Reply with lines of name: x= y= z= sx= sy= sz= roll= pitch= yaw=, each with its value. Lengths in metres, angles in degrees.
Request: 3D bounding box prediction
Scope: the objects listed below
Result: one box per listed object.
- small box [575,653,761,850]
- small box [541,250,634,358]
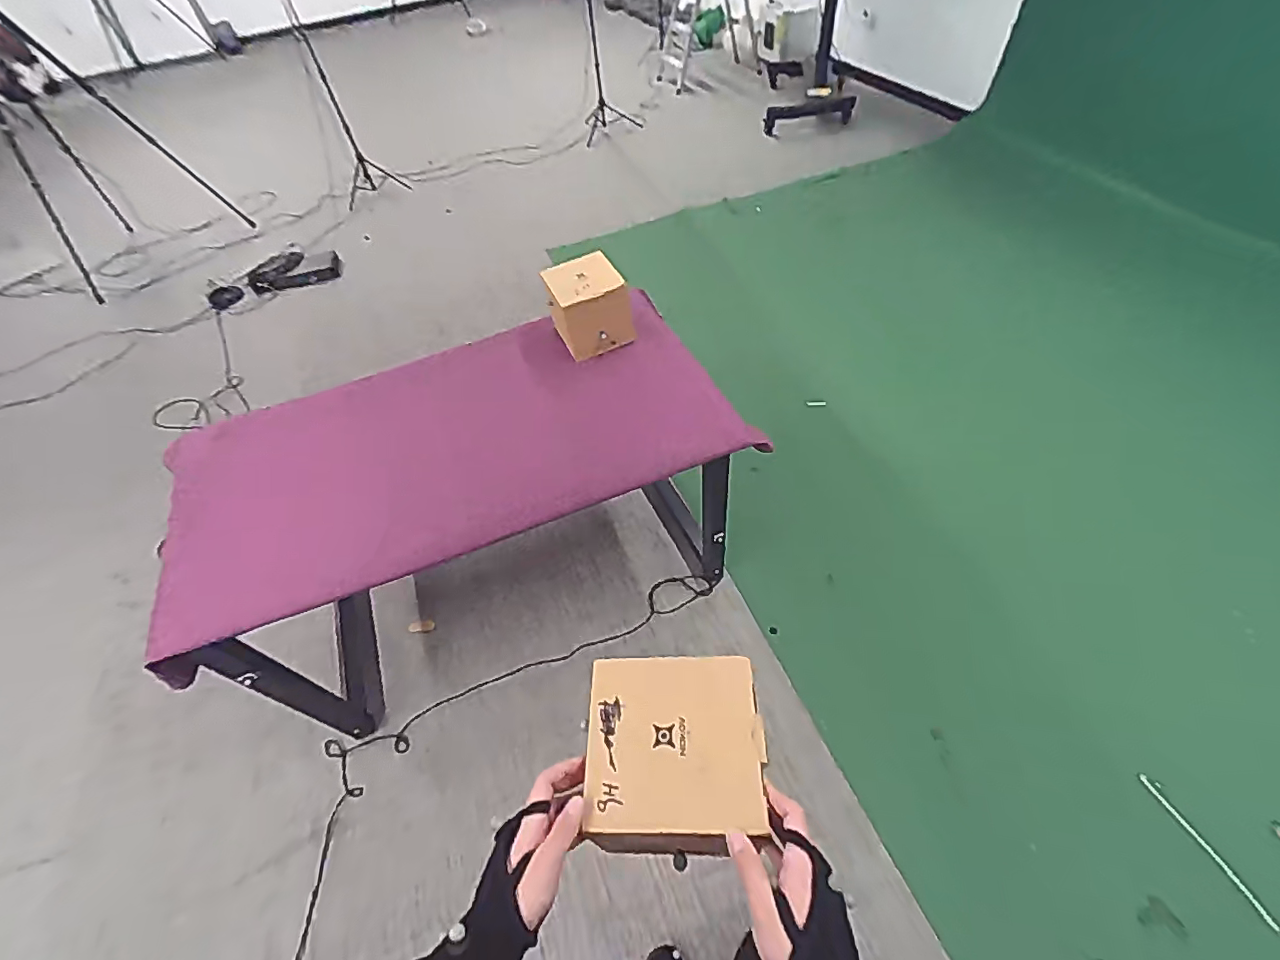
small box: x=0.035 y=0.309 z=0.613 sx=0.179 sy=0.176 sz=0.168 roll=-2 pitch=49 yaw=6
small box: x=-0.130 y=-0.439 z=1.361 sx=0.168 sy=0.176 sz=0.179 roll=-24 pitch=54 yaw=-7
